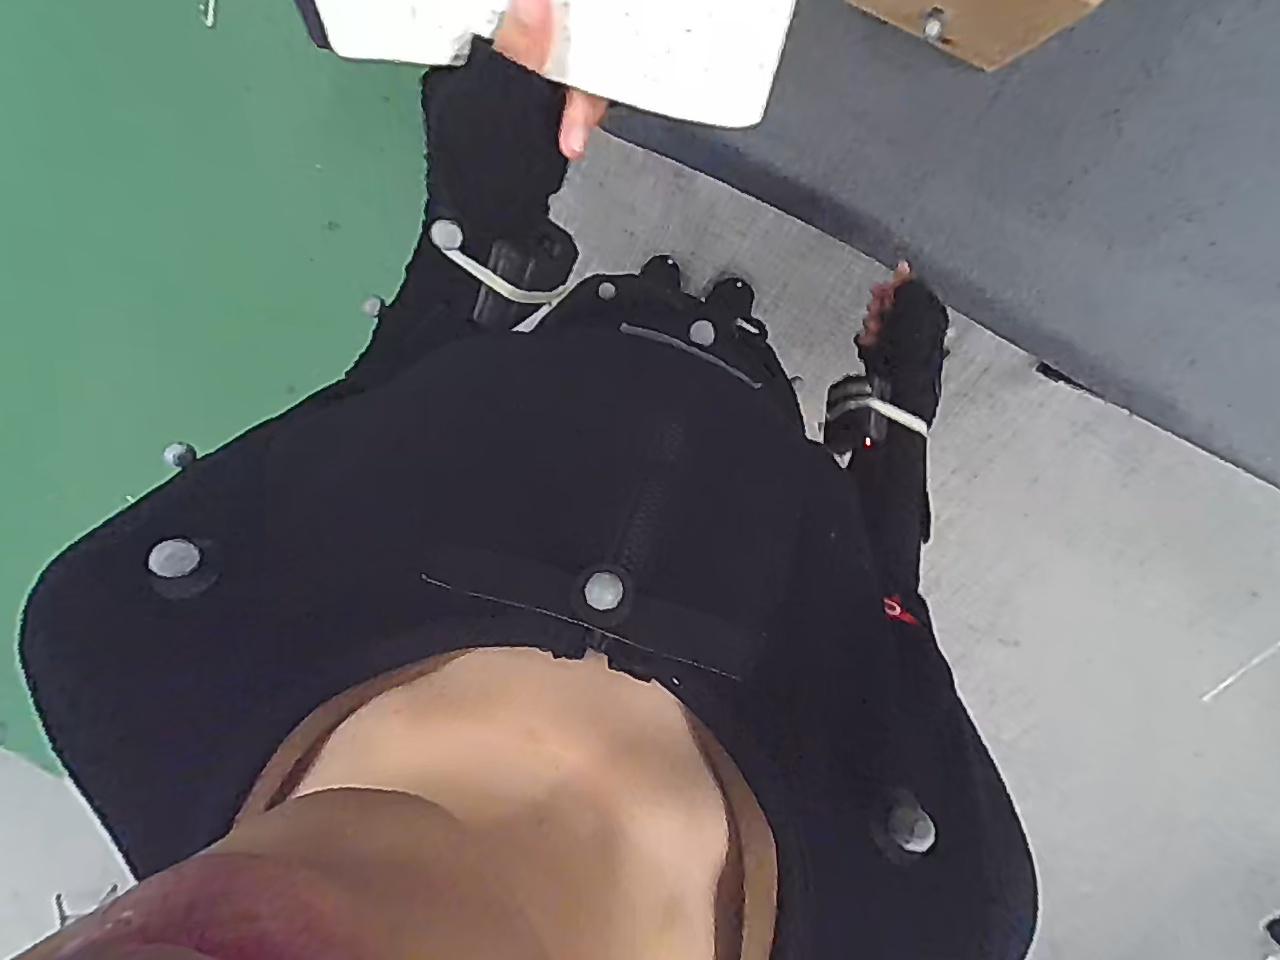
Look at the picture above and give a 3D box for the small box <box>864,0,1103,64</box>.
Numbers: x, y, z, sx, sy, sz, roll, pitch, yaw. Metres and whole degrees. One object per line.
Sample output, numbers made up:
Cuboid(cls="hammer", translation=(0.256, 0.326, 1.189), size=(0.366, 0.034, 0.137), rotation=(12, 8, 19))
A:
Cuboid(cls="small box", translation=(0.301, -0.477, 0.420), size=(0.168, 0.176, 0.179), rotation=(24, 114, -3))
